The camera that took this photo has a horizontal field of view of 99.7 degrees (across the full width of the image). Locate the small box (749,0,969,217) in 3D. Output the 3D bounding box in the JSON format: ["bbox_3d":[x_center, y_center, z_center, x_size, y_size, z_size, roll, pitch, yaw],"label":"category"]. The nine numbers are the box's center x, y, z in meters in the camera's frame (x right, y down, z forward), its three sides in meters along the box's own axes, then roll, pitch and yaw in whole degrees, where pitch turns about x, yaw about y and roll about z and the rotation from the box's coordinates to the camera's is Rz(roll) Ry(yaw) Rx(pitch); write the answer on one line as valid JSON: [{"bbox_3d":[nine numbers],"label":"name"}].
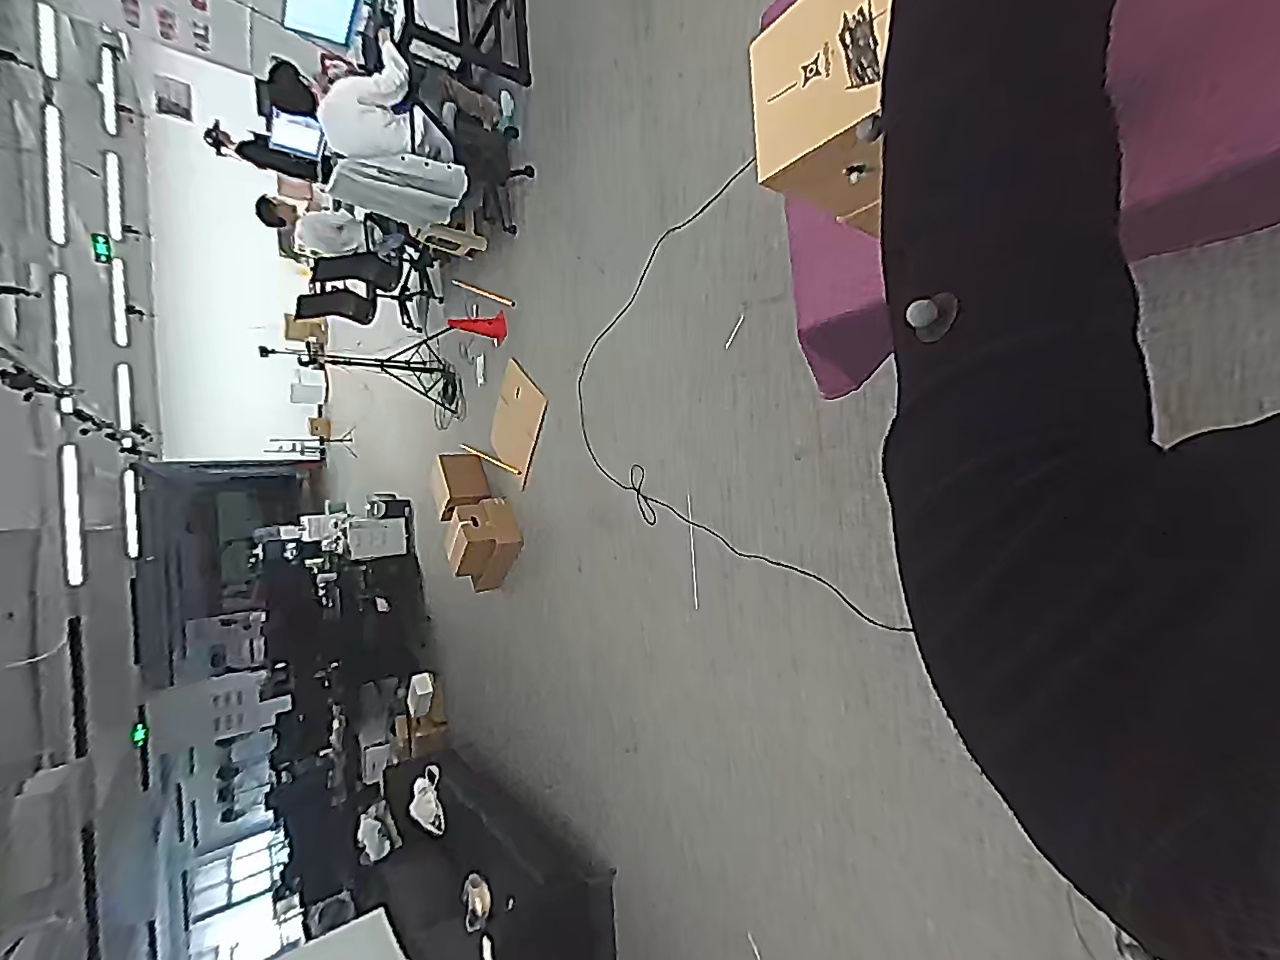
[{"bbox_3d":[0.250,-0.430,0.614,0.179,0.176,0.168,-5,89,53],"label":"small box"}]
